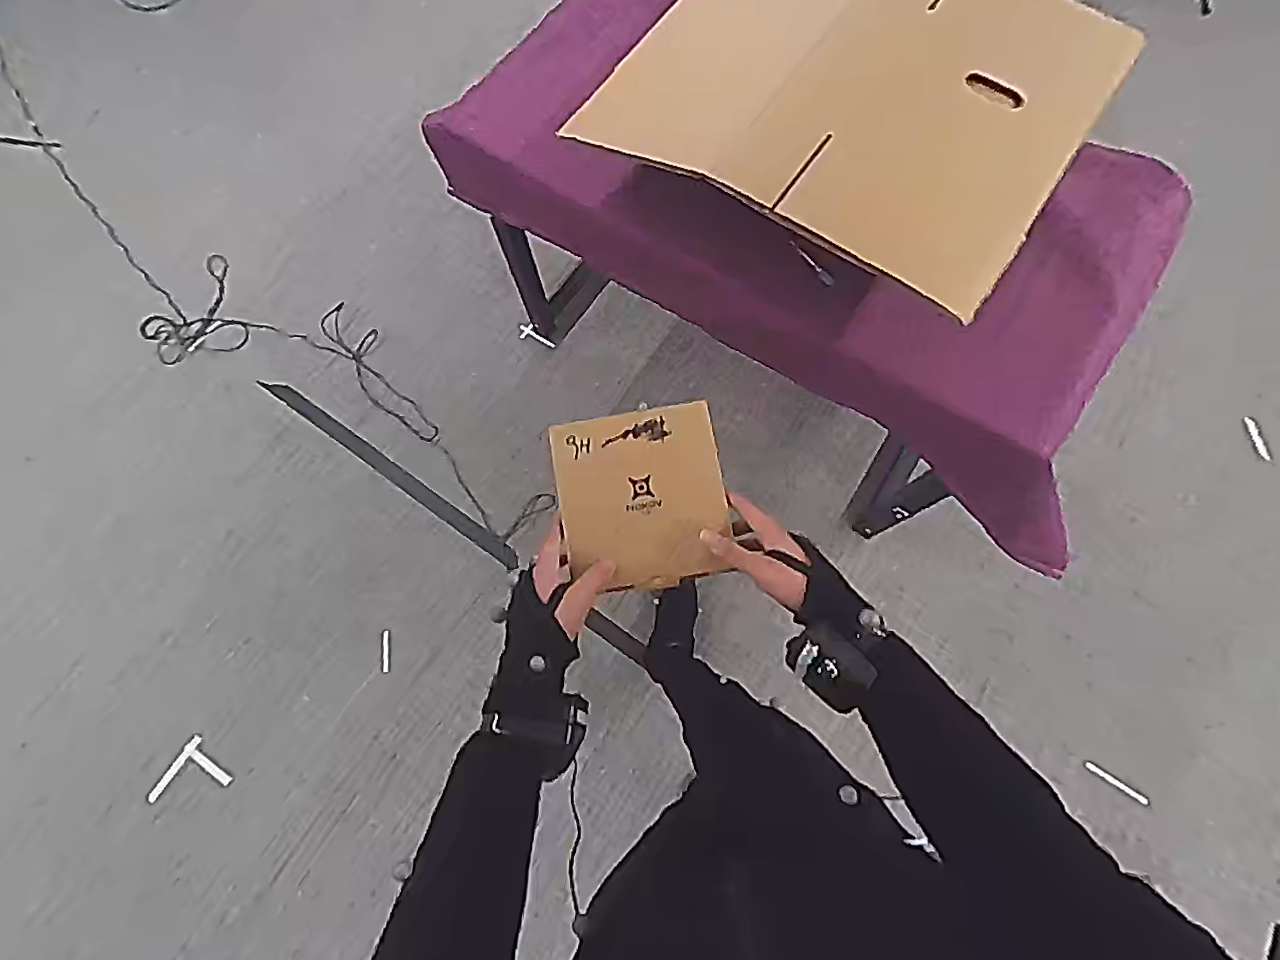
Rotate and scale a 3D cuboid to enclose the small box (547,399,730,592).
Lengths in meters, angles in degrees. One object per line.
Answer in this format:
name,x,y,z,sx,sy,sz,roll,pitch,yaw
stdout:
small box,-0.001,0.023,0.621,0.168,0.176,0.179,-10,82,-1
